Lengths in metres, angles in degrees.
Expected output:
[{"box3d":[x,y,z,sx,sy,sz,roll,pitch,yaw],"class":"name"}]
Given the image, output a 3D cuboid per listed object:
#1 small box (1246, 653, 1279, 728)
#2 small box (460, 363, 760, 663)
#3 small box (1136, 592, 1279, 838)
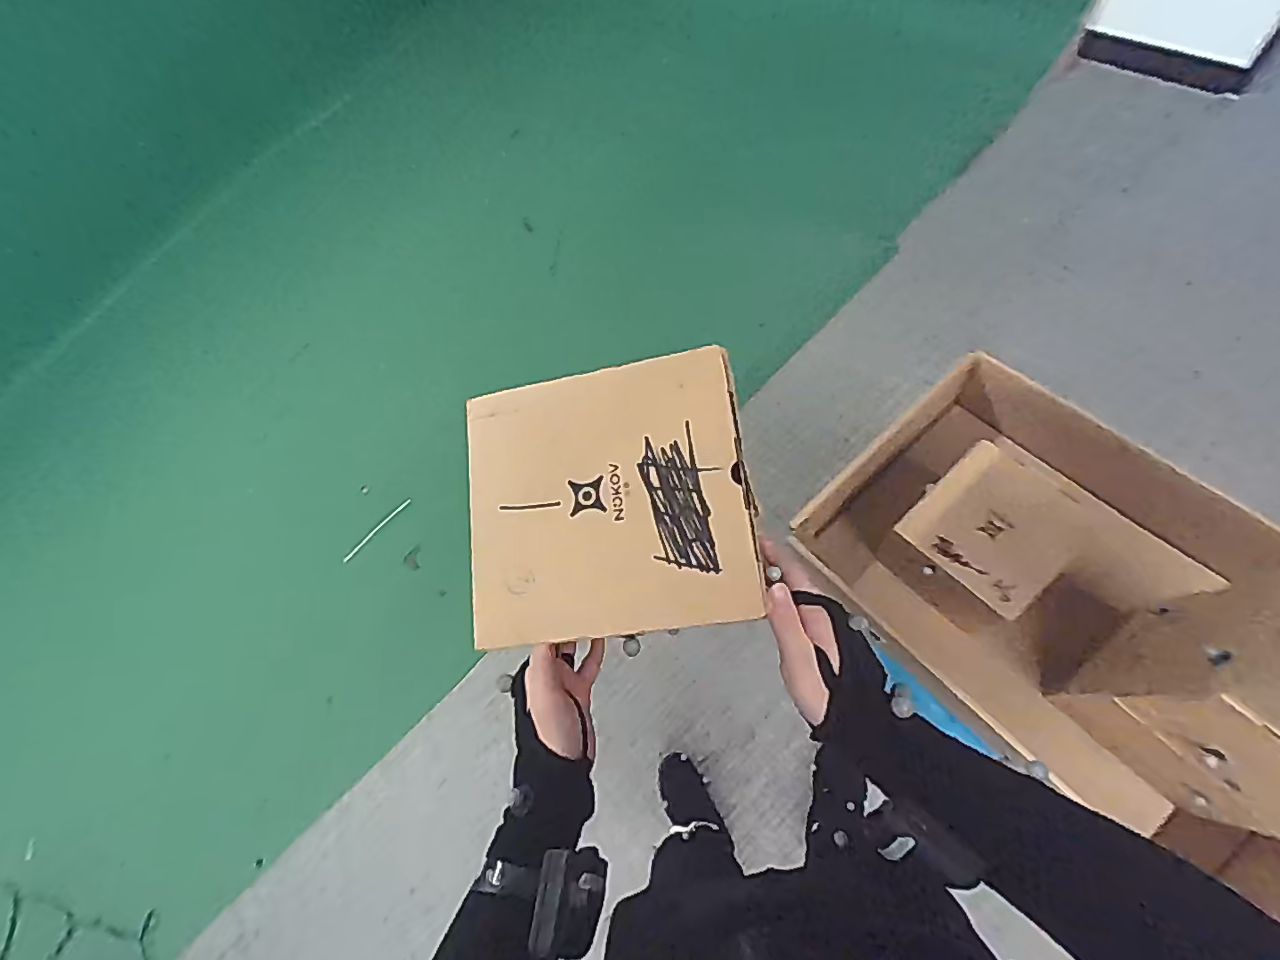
[{"box3d":[0.557,0.141,0.324,0.168,0.176,0.179,-42,63,-3],"class":"small box"},{"box3d":[-0.011,0.037,0.404,0.179,0.176,0.168,-11,73,11],"class":"small box"},{"box3d":[0.602,0.205,0.469,0.179,0.176,0.168,-42,63,-3],"class":"small box"}]
